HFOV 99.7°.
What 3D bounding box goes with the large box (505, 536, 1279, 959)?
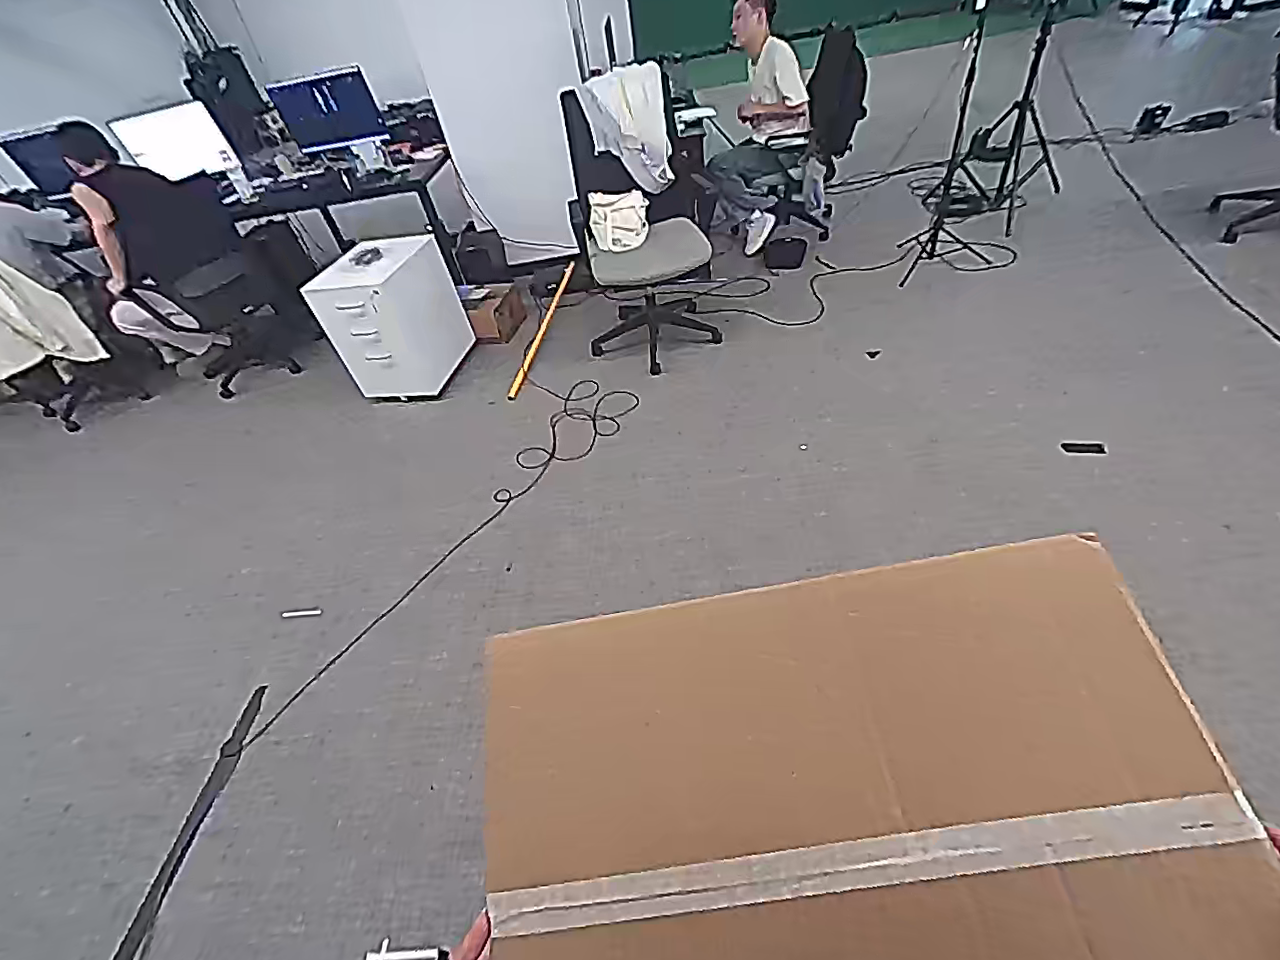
[{"bbox_3d":[0.141,0.274,0.433,0.408,0.320,0.320,-11,64,6],"label":"large box"}]
